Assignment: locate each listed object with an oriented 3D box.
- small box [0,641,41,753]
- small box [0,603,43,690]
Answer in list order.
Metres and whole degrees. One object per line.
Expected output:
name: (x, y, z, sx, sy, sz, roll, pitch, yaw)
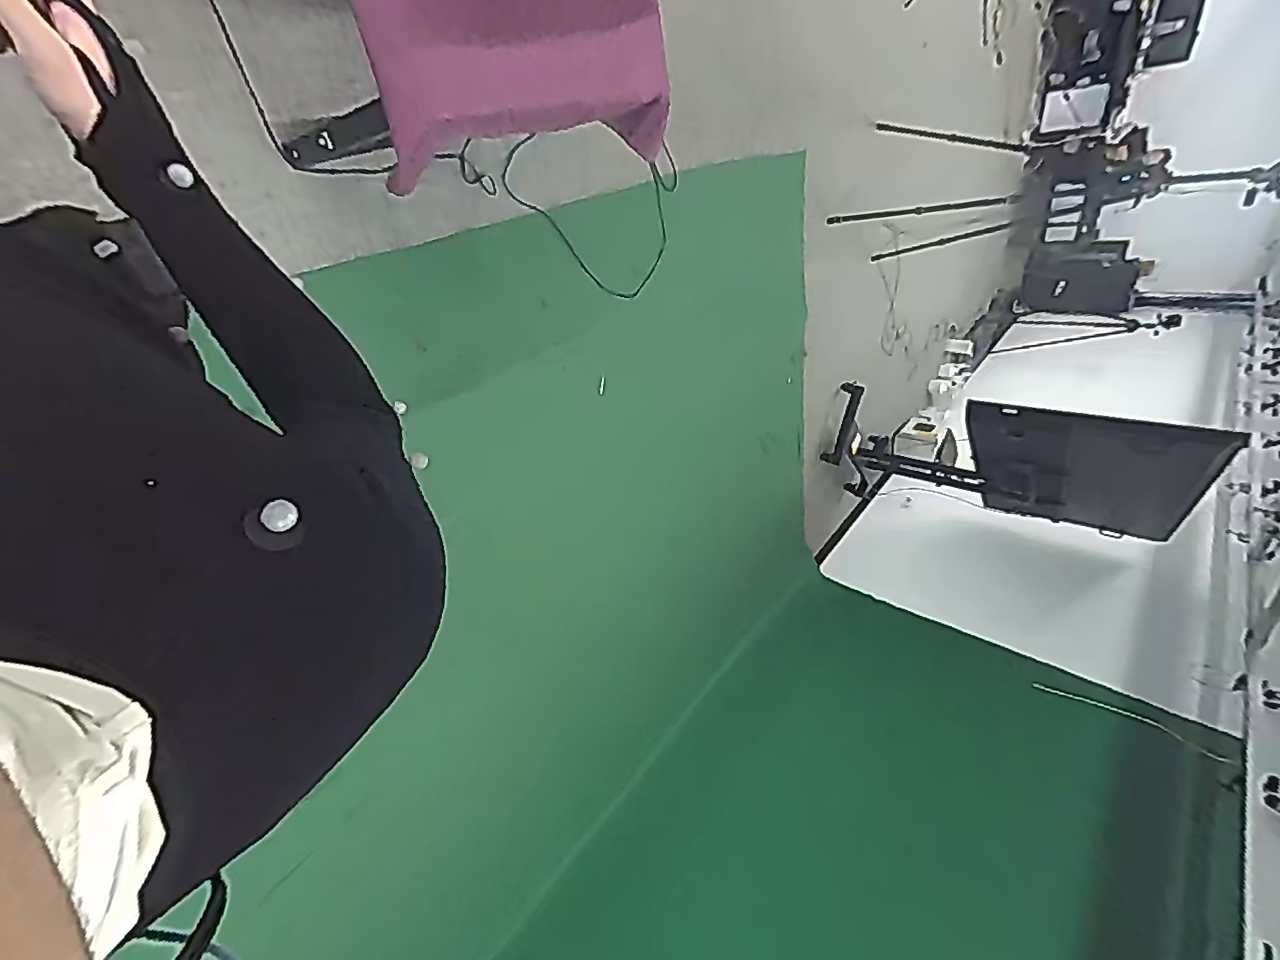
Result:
small box: (-1.224, 0.401, 0.959, 0.168, 0.176, 0.179, -31, 126, -38)
small box: (-1.341, 0.362, 1.068, 0.168, 0.176, 0.179, -33, 127, -37)
